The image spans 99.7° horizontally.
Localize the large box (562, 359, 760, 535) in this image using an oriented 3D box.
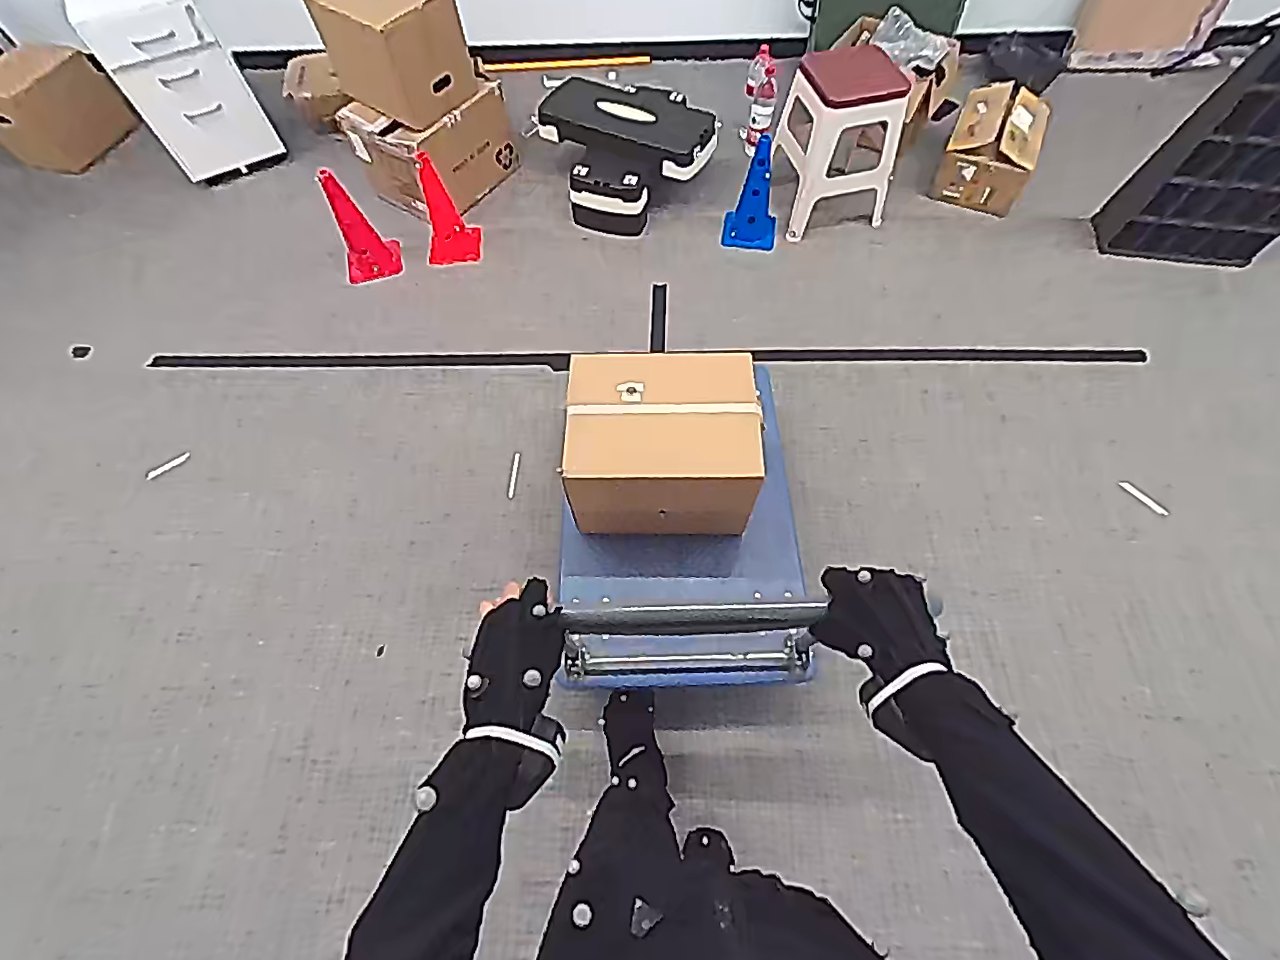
[{"bbox_3d":[0.048,-0.063,1.280,0.408,0.320,0.320,-1,63,2],"label":"large box"}]
